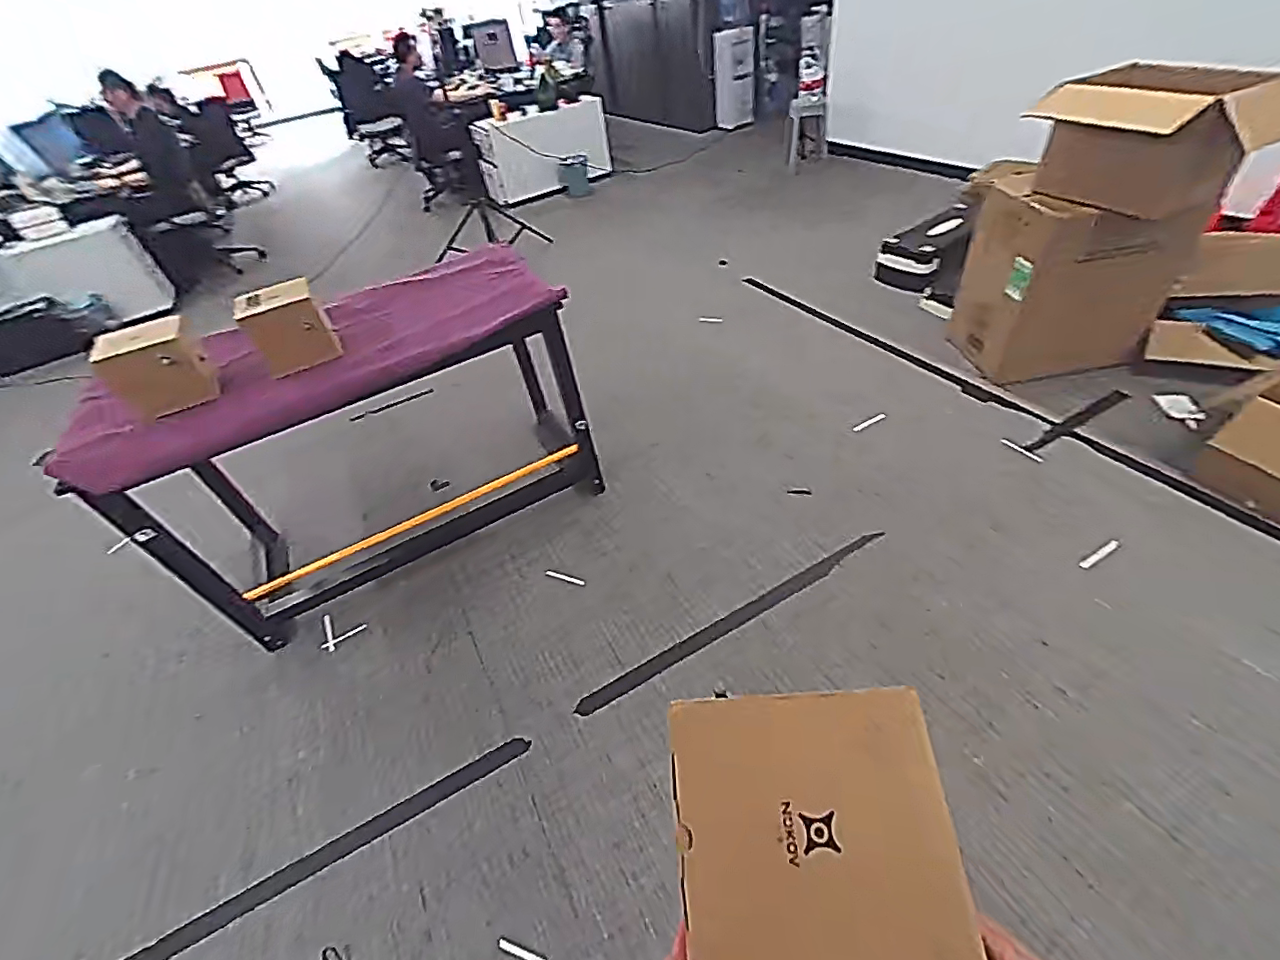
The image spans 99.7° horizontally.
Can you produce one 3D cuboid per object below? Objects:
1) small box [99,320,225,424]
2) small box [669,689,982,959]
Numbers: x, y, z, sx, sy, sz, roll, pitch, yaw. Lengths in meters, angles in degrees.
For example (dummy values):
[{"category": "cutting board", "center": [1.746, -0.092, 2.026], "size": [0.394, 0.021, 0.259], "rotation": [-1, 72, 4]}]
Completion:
[{"category": "small box", "center": [-1.170, -0.267, 1.343], "size": [0.179, 0.176, 0.168], "rotation": [-26, 44, -19]}, {"category": "small box", "center": [0.119, 0.258, 0.424], "size": [0.179, 0.176, 0.168], "rotation": [-6, 65, 5]}]
